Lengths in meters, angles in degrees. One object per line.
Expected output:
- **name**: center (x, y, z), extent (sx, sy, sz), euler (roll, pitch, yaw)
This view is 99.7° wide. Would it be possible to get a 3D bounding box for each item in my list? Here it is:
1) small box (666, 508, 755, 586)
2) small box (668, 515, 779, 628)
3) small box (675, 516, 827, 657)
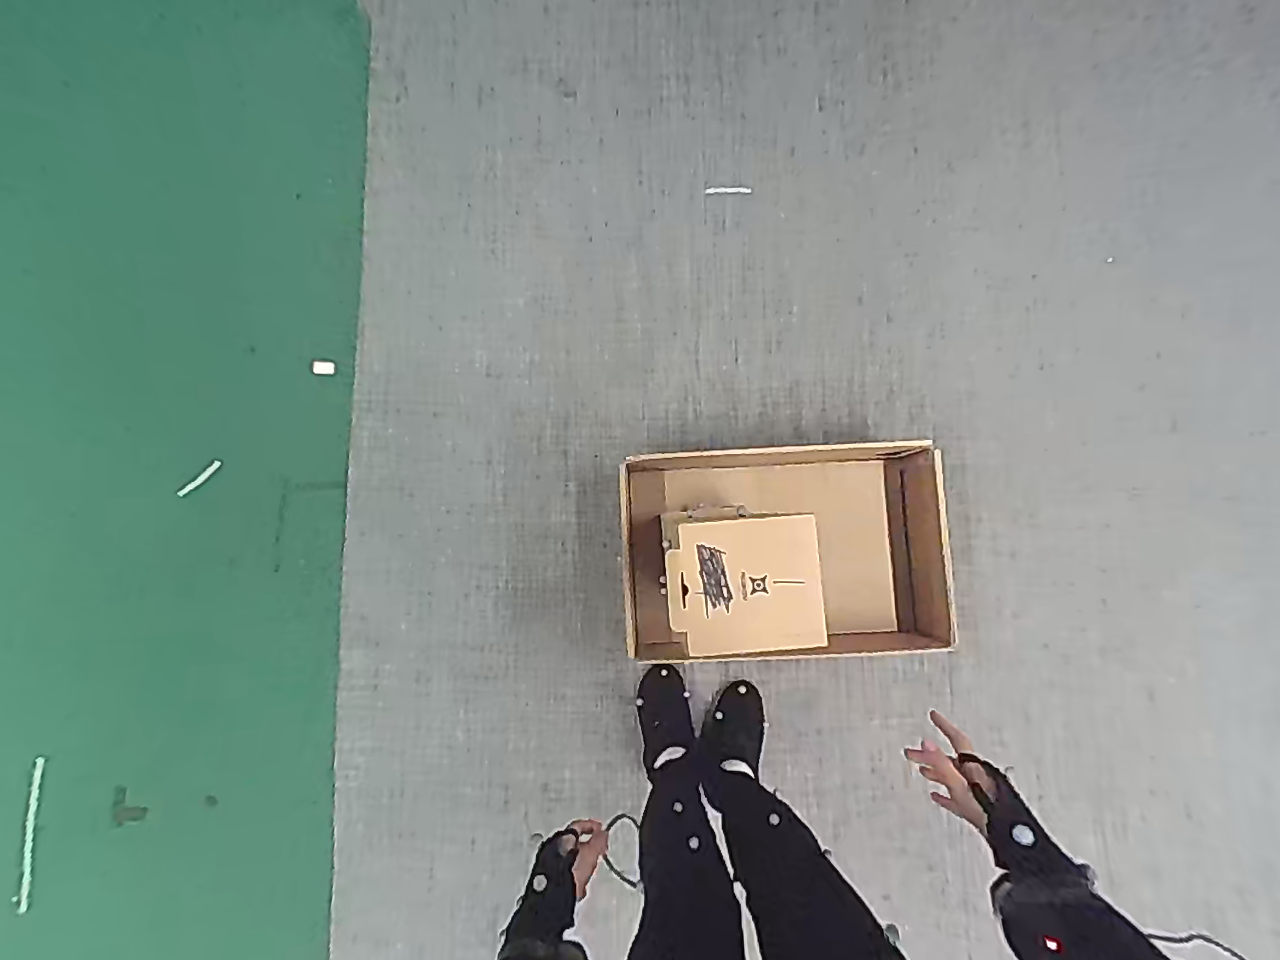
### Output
- **small box**: center (0.141, 0.151, 1.079), extent (0.168, 0.176, 0.179), euler (-6, 84, 0)
- **small box**: center (0.140, 0.149, 0.916), extent (0.179, 0.176, 0.168), euler (-5, 86, 0)
- **small box**: center (0.141, 0.139, 0.753), extent (0.179, 0.176, 0.168), euler (-5, 86, 0)
